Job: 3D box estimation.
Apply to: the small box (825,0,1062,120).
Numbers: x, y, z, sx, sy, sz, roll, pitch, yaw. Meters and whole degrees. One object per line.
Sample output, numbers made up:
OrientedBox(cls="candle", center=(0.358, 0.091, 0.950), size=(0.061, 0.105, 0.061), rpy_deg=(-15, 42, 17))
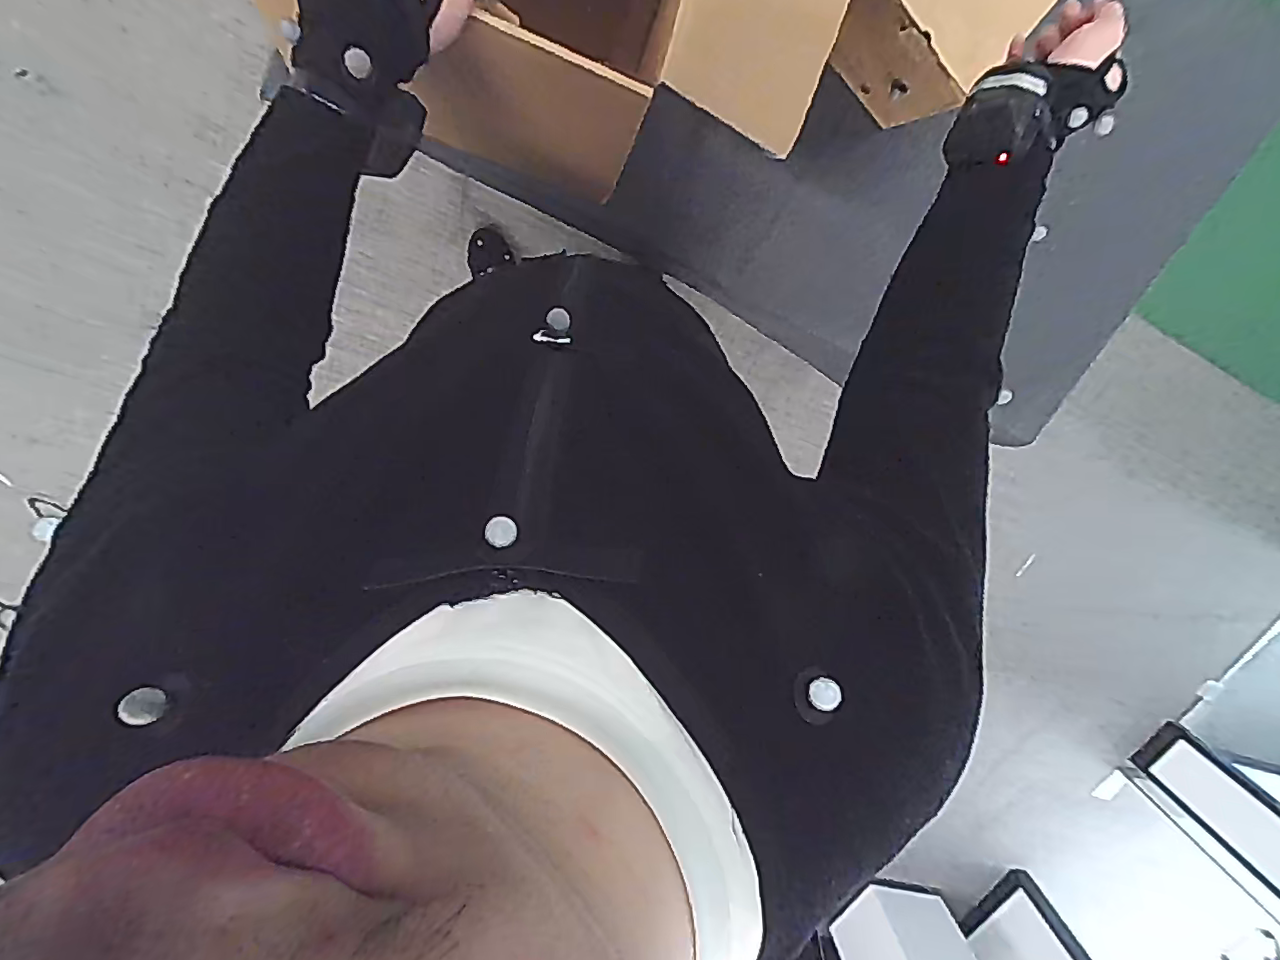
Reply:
OrientedBox(cls="small box", center=(0.331, -0.537, 0.592), size=(0.168, 0.176, 0.179), rpy_deg=(34, 105, -23))
